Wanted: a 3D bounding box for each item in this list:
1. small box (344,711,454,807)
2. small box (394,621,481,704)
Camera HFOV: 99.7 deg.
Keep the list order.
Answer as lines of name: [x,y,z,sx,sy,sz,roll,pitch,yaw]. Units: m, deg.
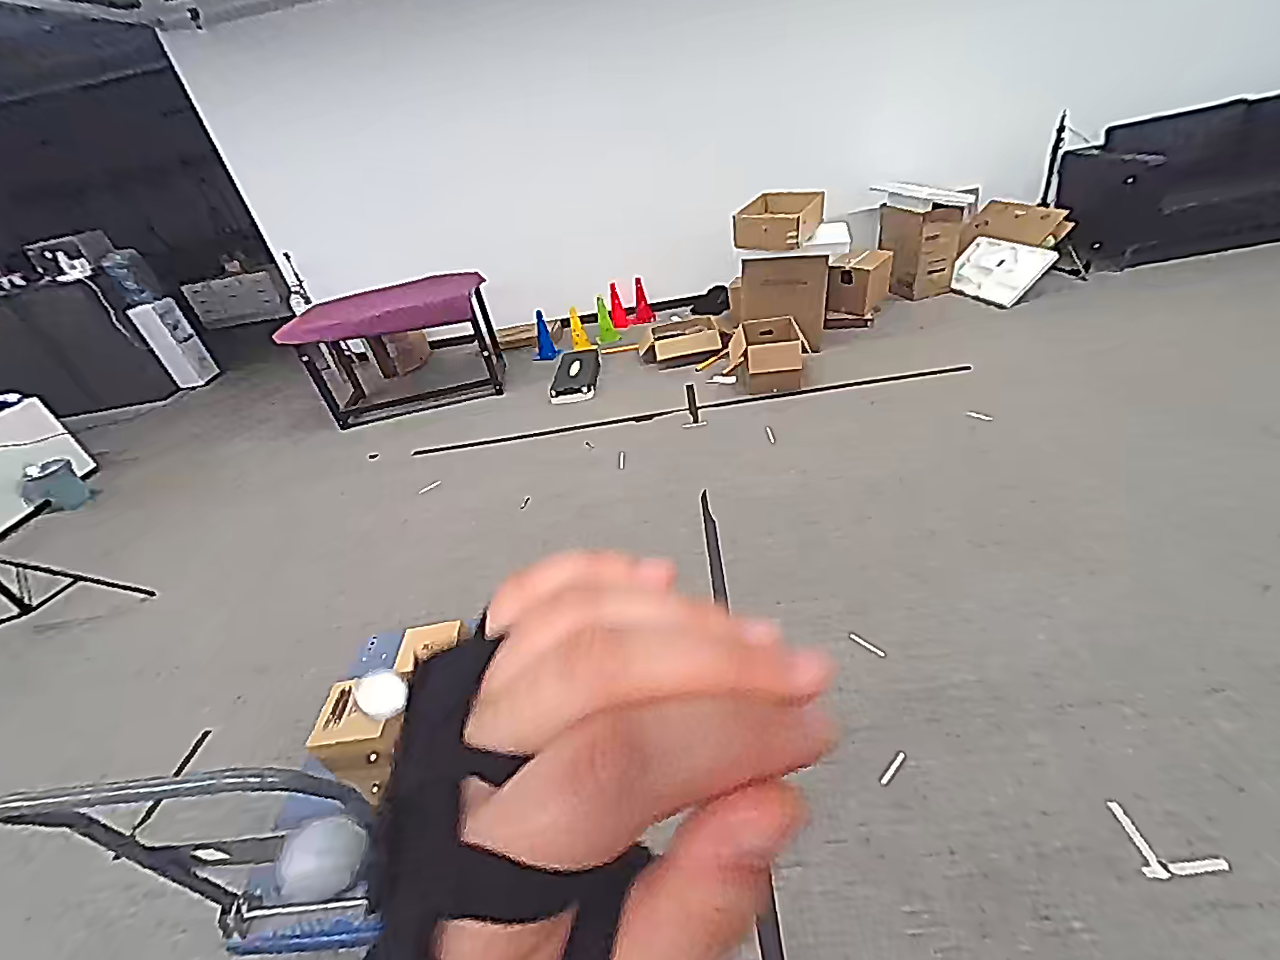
small box: [-0.613,0.725,1.399,0.179,0.176,0.168,-6,35,7]
small box: [-0.607,0.557,1.641,0.179,0.176,0.168,-10,35,2]
